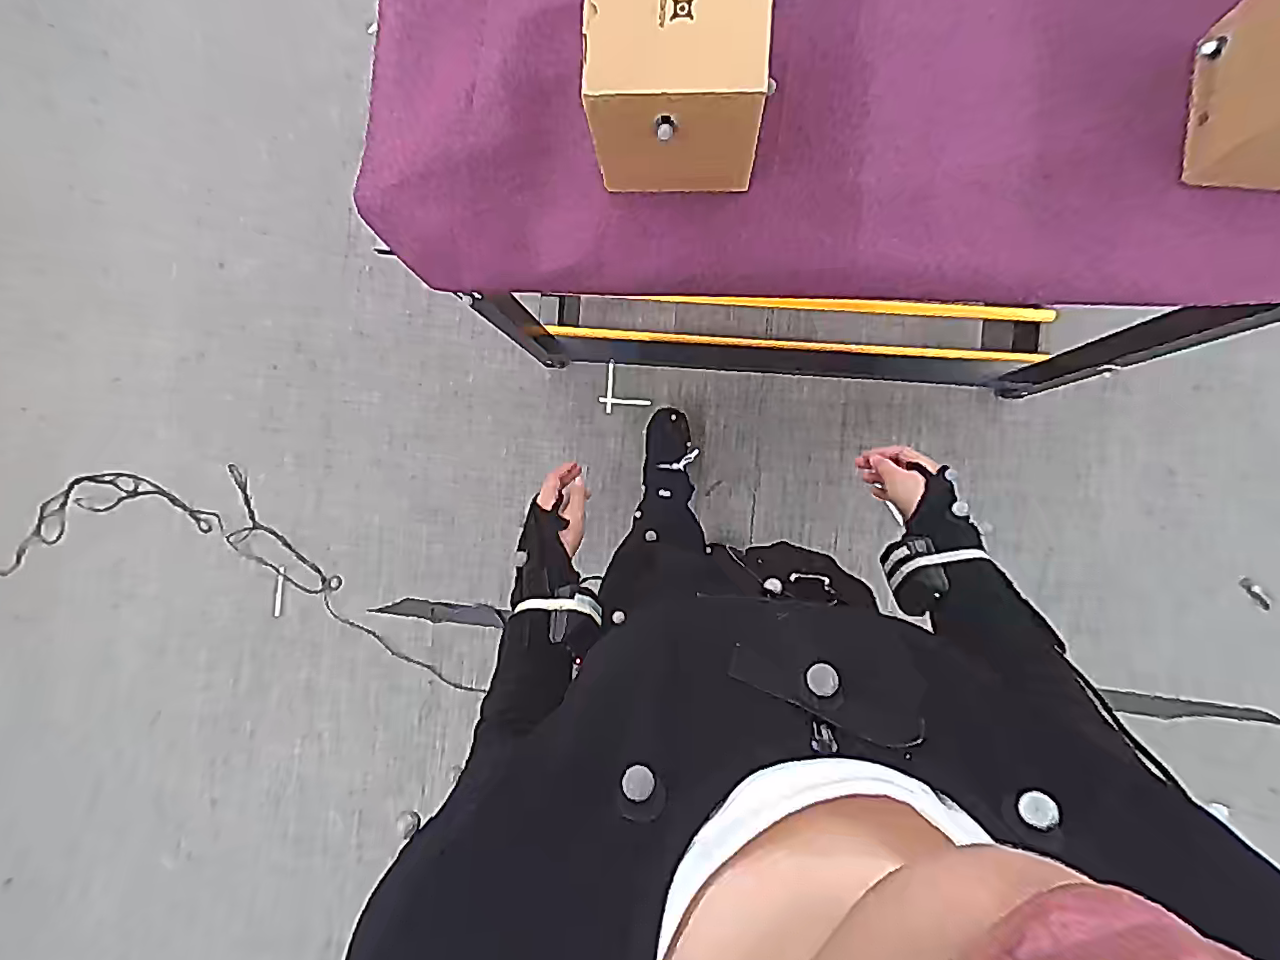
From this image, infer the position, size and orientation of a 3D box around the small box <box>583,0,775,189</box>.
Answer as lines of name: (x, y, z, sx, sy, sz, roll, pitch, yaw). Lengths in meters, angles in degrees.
small box: (0.044, -0.437, 0.580, 0.179, 0.176, 0.168, 3, 89, 6)

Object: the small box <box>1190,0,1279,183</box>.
small box: (0.686, -0.403, 0.508, 0.179, 0.176, 0.168, 7, 89, 6)
